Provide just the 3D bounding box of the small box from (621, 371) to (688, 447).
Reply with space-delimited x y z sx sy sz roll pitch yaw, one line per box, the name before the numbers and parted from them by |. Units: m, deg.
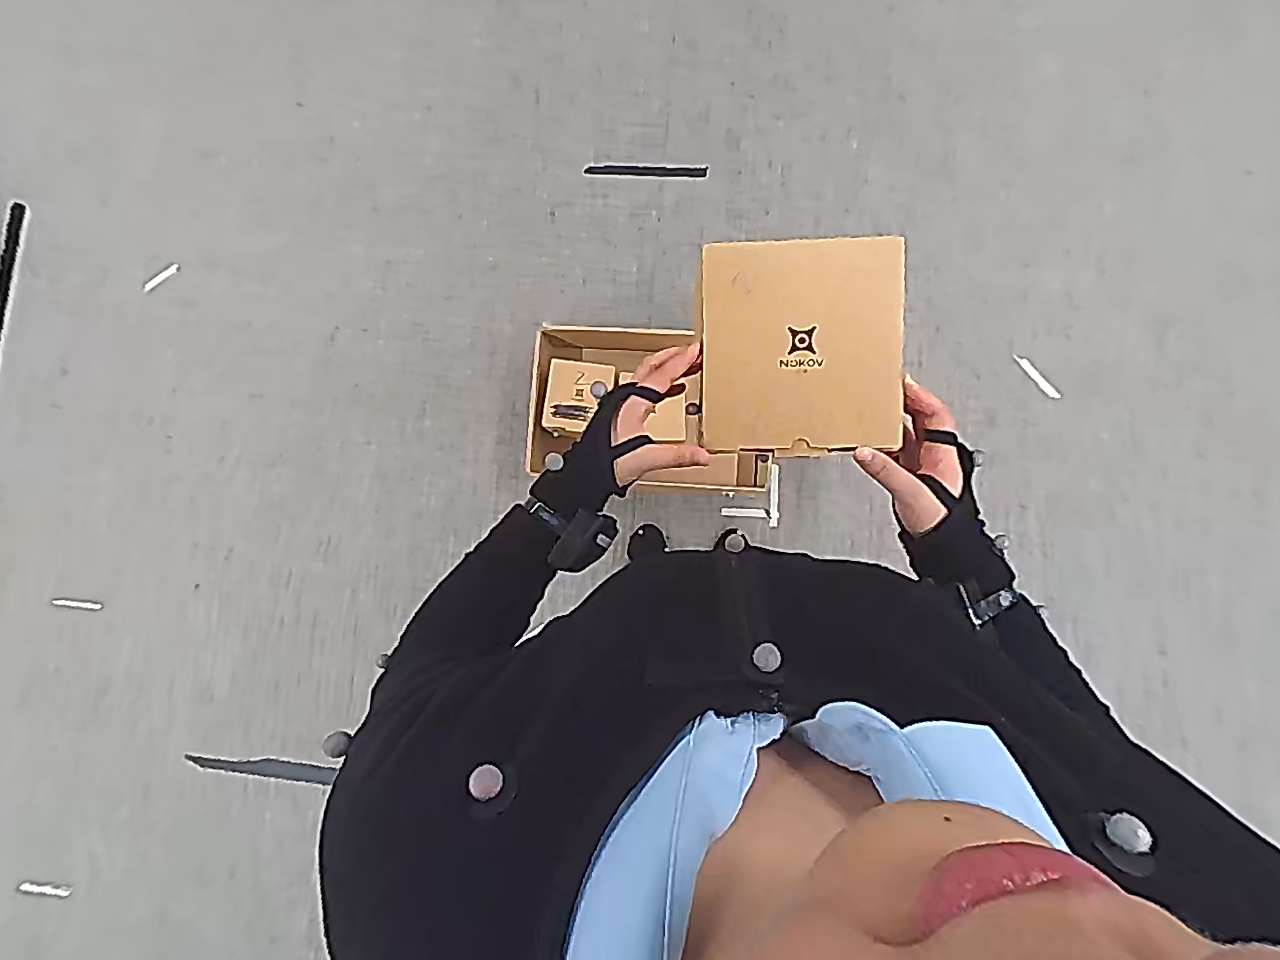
small box | 0.041 -0.179 1.415 0.168 0.176 0.179 0 86 3
